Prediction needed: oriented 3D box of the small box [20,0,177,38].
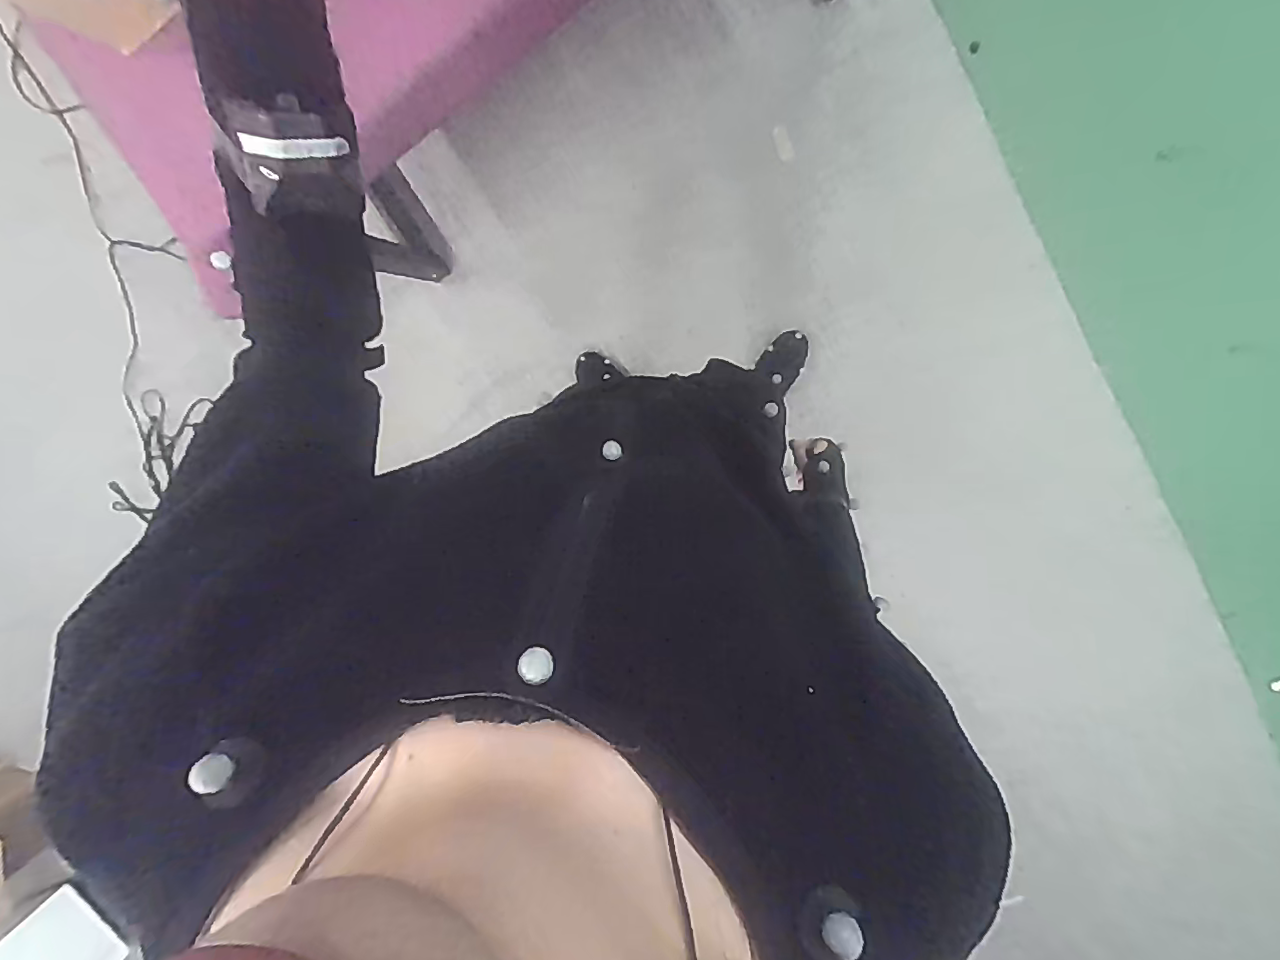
[{"bbox_3d":[-0.636,-0.631,0.582,0.168,0.176,0.179,-27,100,13],"label":"small box"}]
